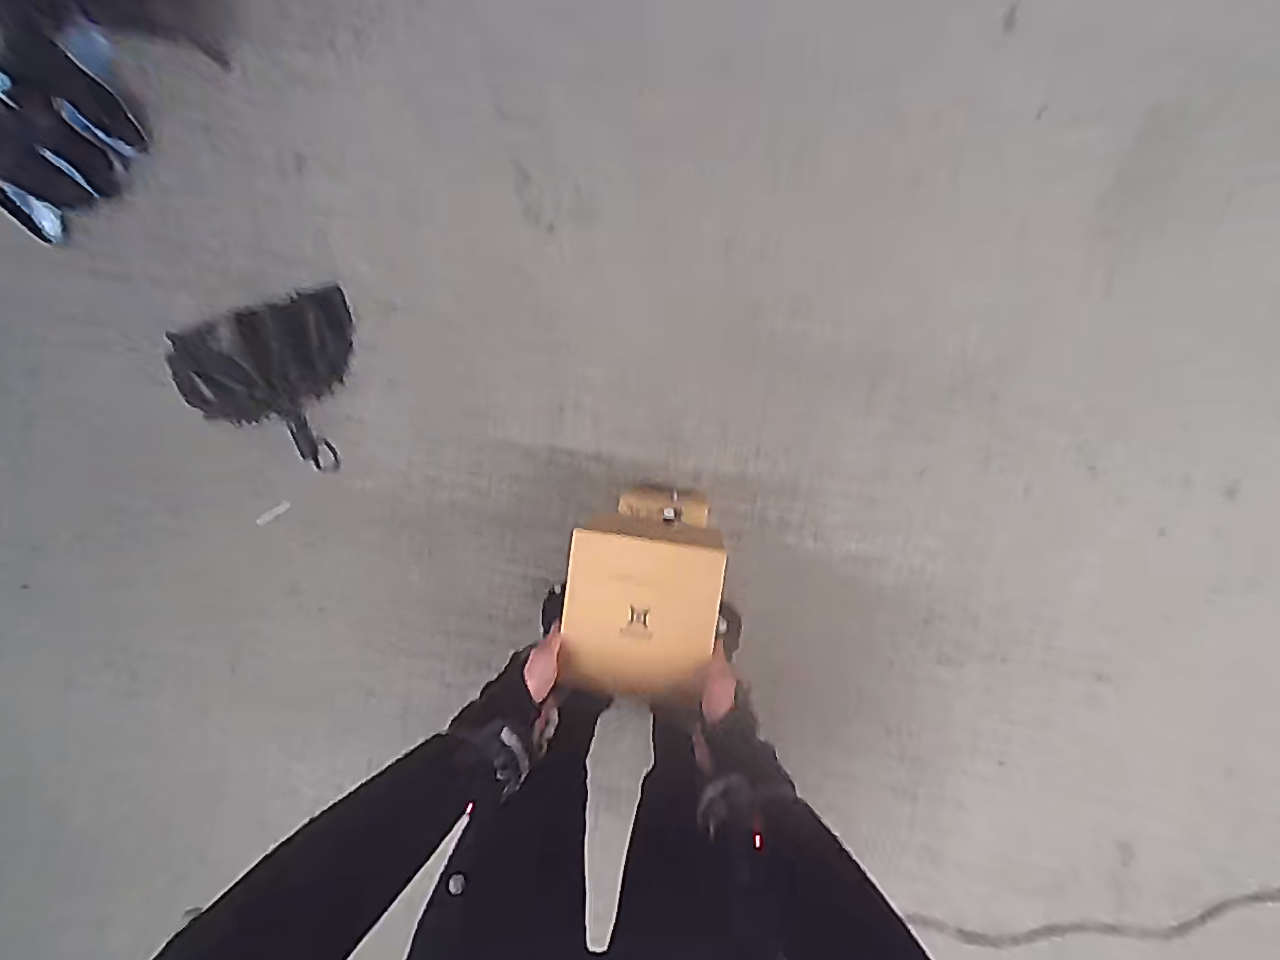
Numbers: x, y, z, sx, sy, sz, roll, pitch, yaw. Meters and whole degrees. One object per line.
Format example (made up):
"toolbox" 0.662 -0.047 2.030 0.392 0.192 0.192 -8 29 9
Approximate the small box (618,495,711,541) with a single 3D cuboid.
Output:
"small box" 0.047 0.132 1.052 0.168 0.176 0.179 7 96 7

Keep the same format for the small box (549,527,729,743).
"small box" 0.005 0.161 0.617 0.168 0.176 0.179 7 95 5
